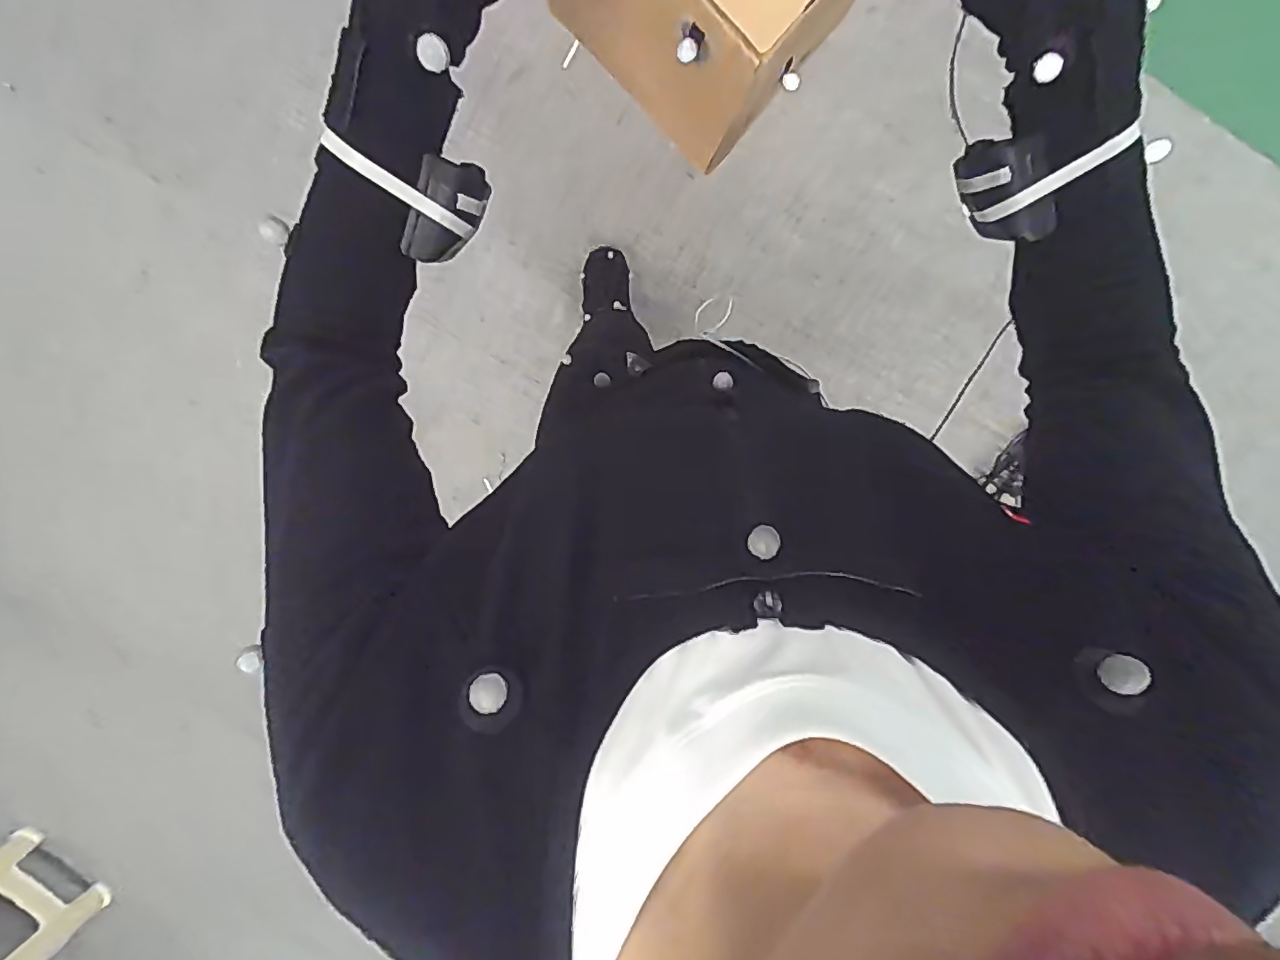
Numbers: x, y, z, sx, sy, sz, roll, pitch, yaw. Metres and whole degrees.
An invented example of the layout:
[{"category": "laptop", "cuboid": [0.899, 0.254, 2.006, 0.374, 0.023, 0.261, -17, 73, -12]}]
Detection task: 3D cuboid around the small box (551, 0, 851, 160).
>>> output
[{"category": "small box", "cuboid": [0.048, -0.356, 0.350, 0.179, 0.176, 0.168, 42, 95, -11]}]
